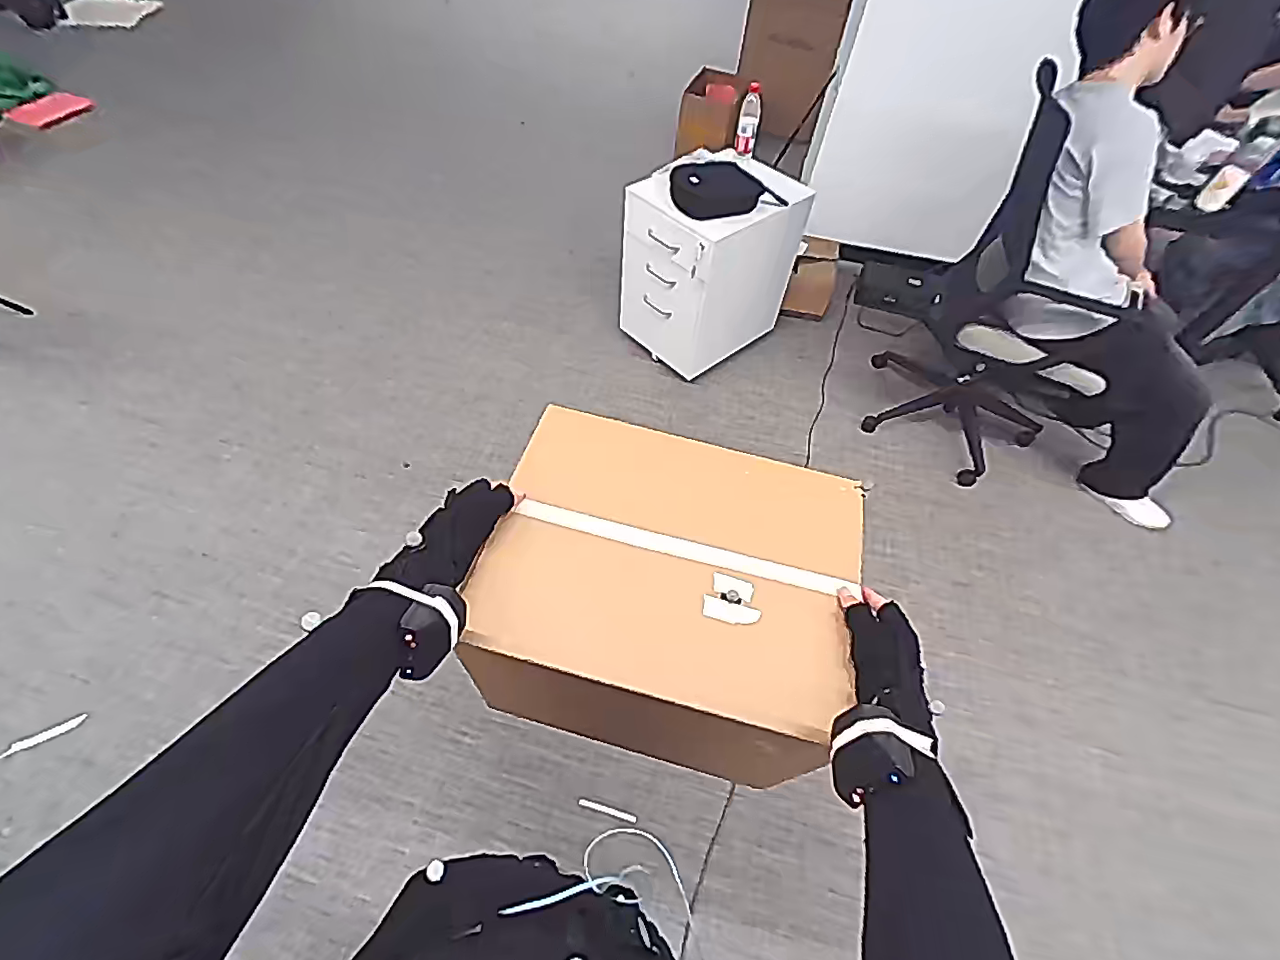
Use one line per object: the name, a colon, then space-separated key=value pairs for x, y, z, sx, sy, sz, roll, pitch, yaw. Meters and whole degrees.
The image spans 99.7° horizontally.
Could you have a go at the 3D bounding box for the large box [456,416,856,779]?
large box: x=0.028 y=0.166 z=0.725 sx=0.408 sy=0.320 sz=0.320 roll=15 pitch=56 yaw=4
